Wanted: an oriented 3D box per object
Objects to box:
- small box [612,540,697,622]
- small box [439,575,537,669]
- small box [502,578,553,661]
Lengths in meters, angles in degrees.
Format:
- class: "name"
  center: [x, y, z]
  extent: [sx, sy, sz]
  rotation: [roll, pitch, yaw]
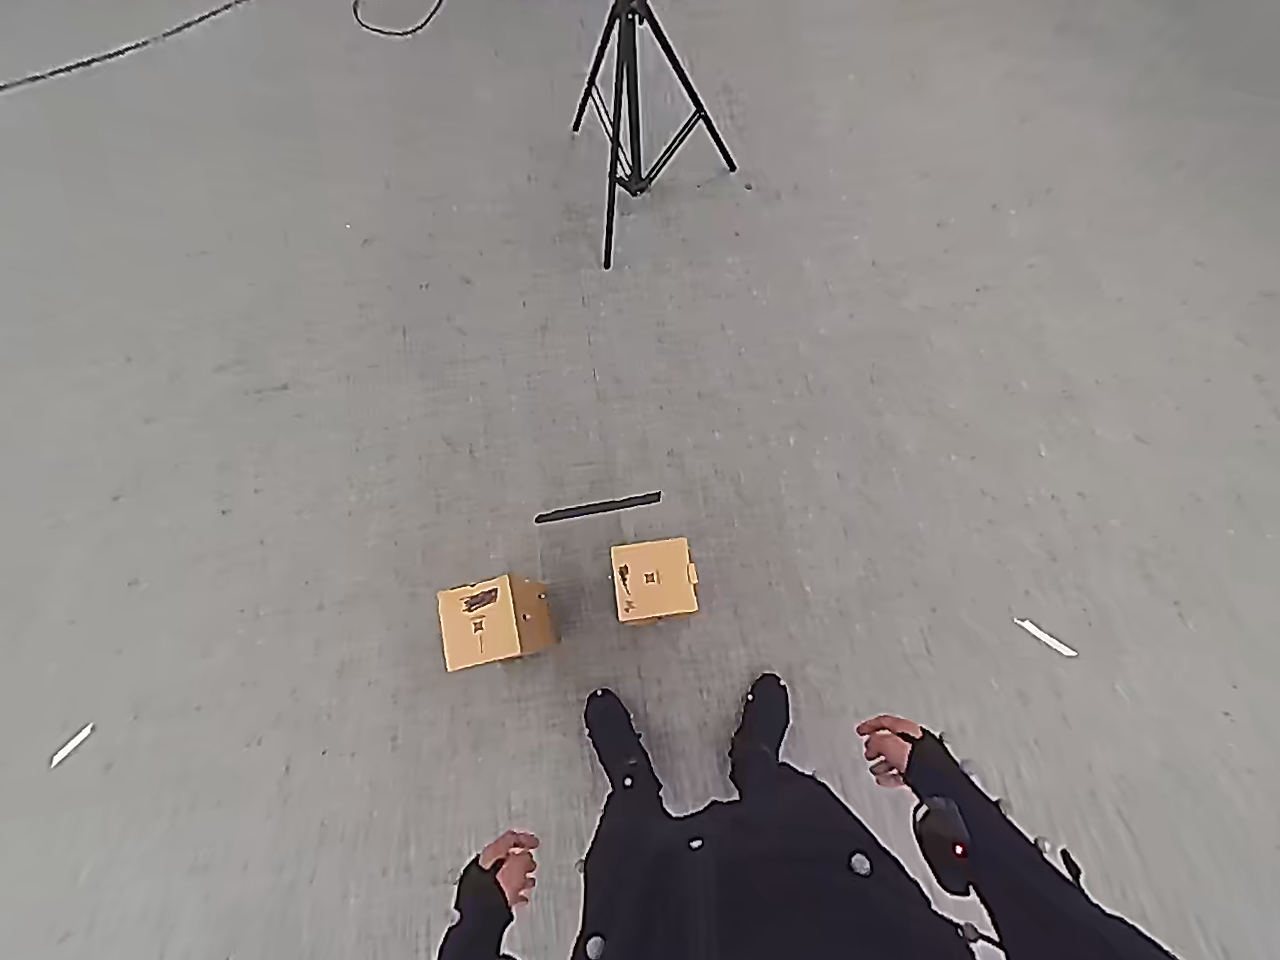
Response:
- class: "small box"
  center: [0.031, 0.241, 1.267]
  extent: [0.179, 0.176, 0.168]
  rotation: [-7, 73, -1]
- class: "small box"
  center: [-0.349, 0.331, 1.257]
  extent: [0.168, 0.176, 0.179]
  rotation: [-13, 74, -1]
- class: "small box"
  center: [-0.335, 0.370, 1.416]
  extent: [0.168, 0.176, 0.179]
  rotation: [-15, 74, -2]
